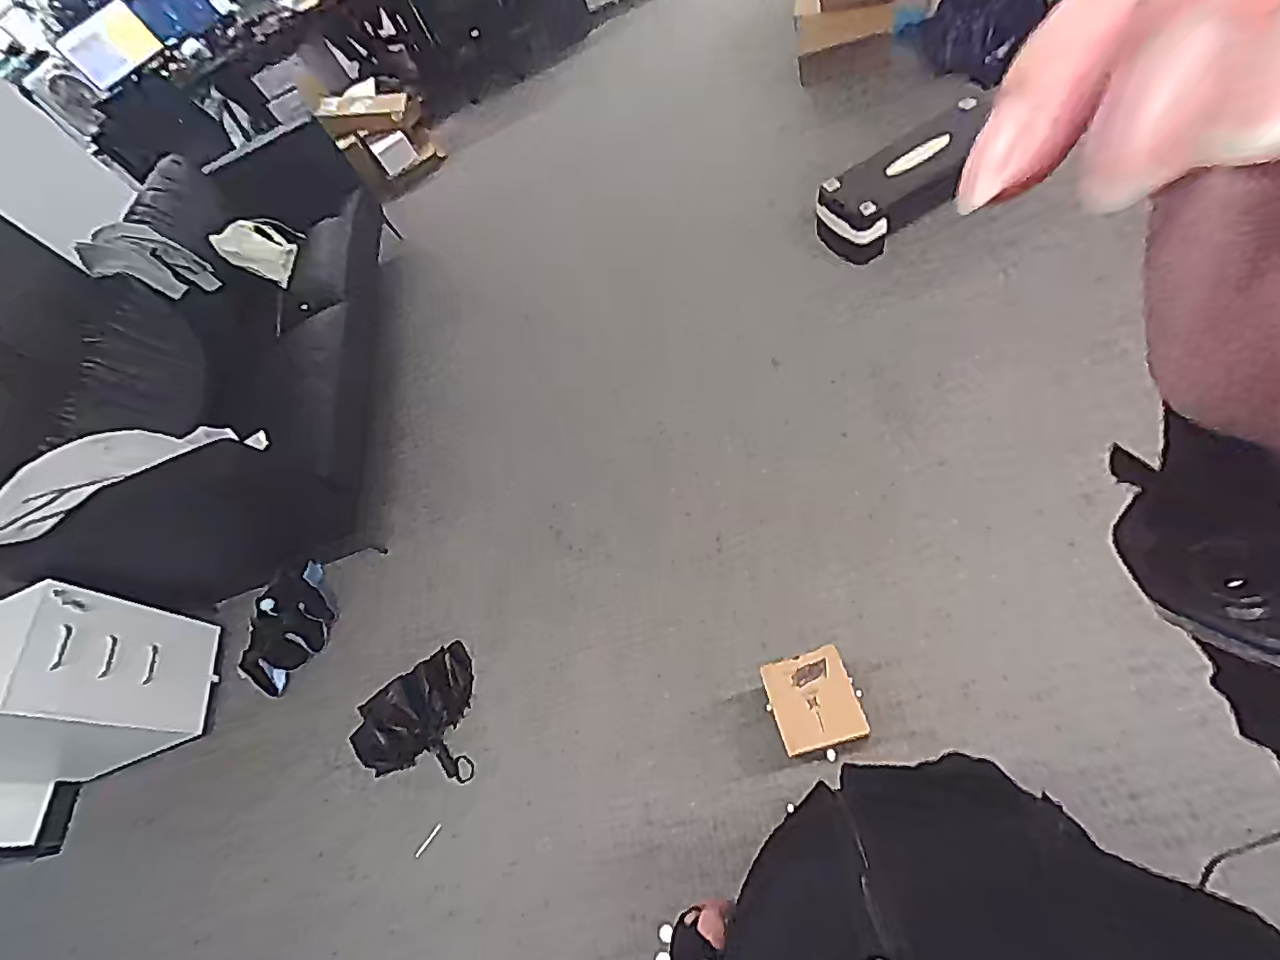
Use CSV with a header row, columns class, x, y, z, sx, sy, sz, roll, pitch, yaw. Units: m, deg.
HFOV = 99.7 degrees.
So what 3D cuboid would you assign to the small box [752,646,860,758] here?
class,x,y,z,sx,sy,sz,roll,pitch,yaw
small box,0.351,0.478,1.152,0.168,0.176,0.179,-20,57,9
